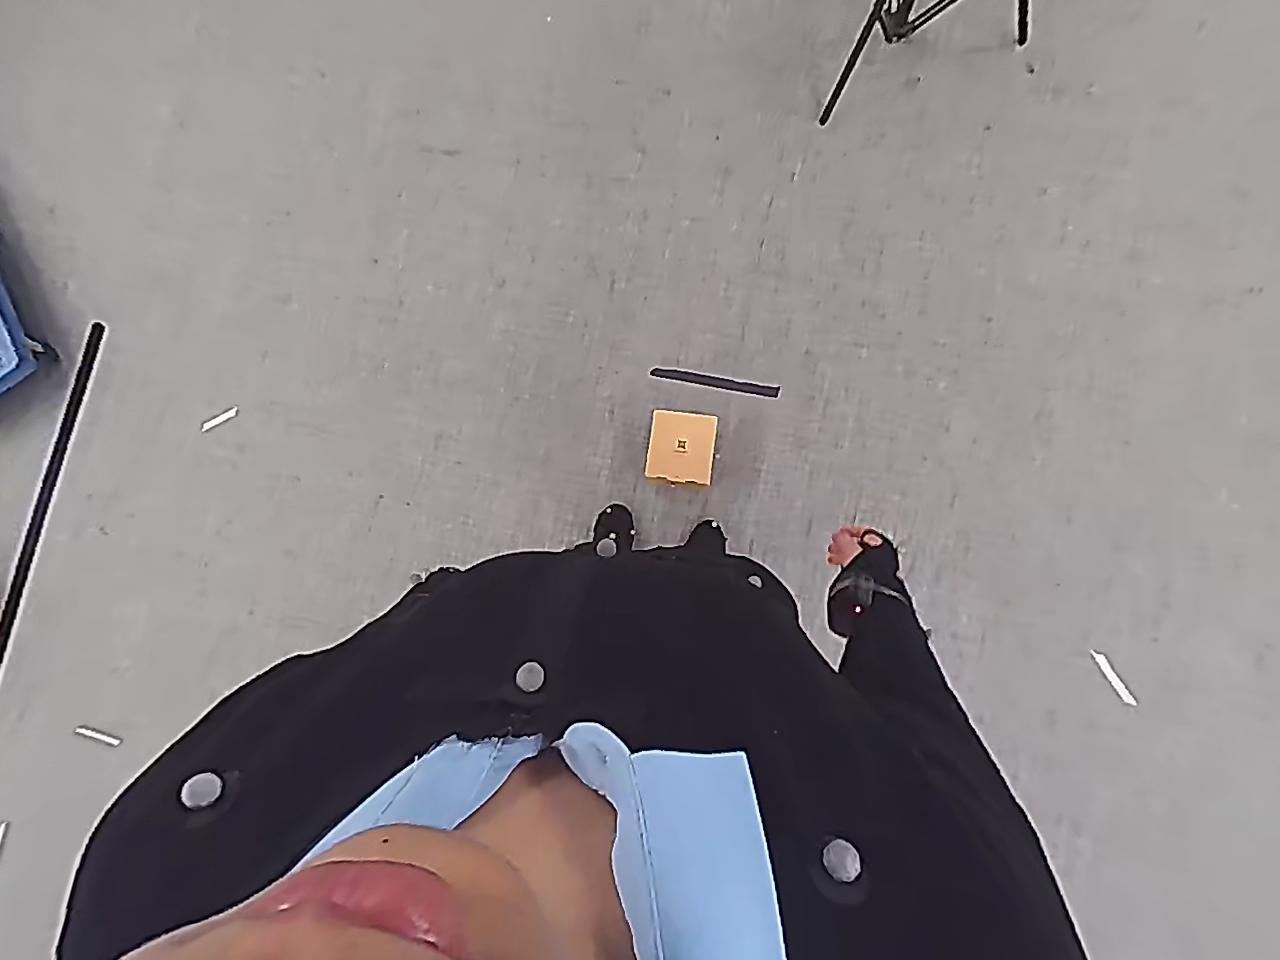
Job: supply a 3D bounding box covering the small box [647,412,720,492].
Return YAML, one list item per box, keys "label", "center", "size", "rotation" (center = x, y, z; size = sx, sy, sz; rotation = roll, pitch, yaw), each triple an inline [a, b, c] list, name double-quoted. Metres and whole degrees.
- label: "small box"
  center: [0.115, -0.070, 1.434]
  size: [0.168, 0.176, 0.179]
  rotation: [7, 86, 7]
